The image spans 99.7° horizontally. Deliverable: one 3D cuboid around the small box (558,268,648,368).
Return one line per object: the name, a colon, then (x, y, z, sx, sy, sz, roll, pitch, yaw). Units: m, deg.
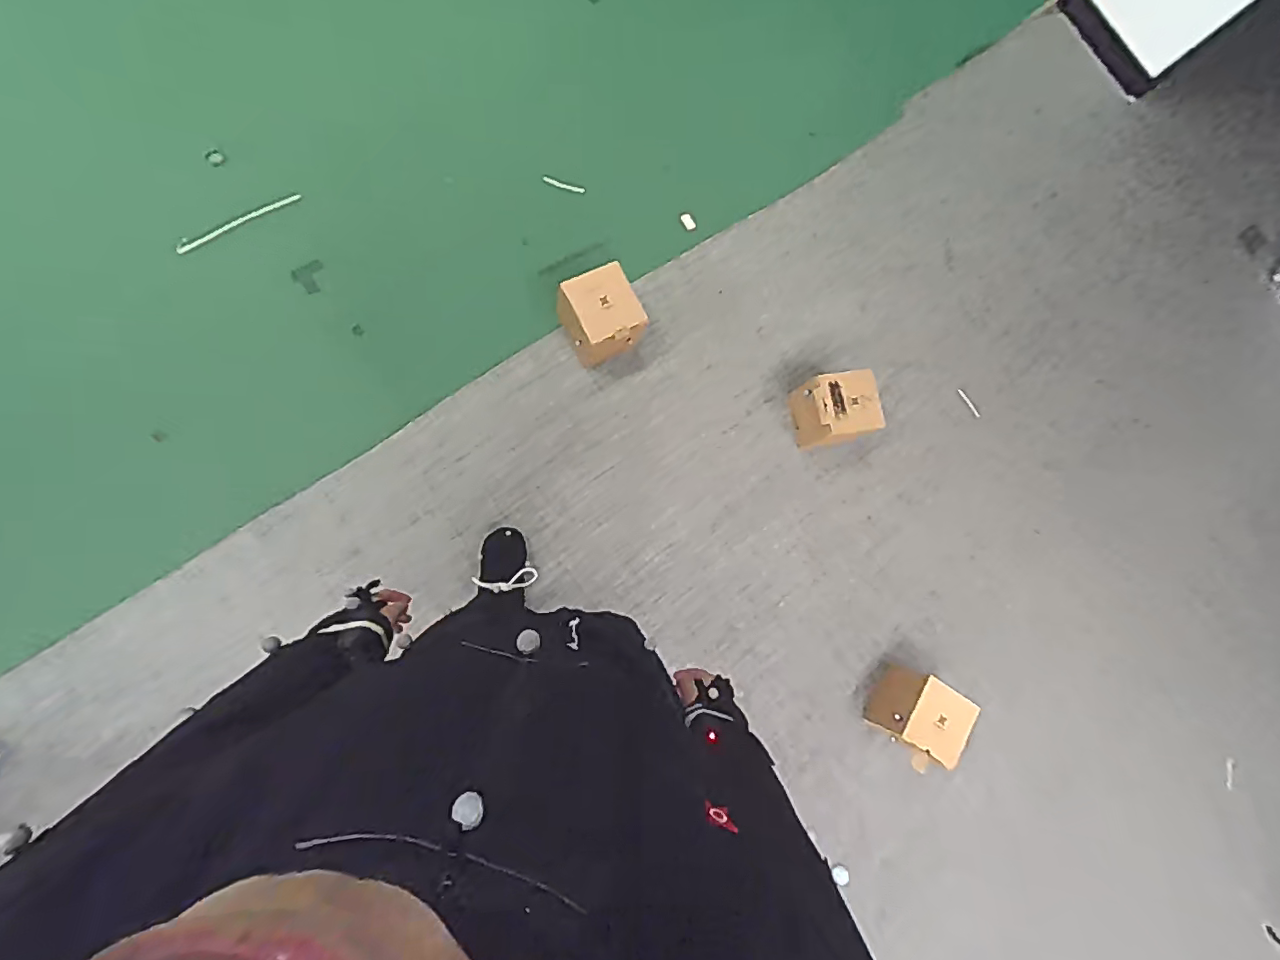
small box: (-0.104, -0.413, 1.419, 0.168, 0.176, 0.179, -28, 87, -16)

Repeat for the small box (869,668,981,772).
small box: (0.743, 0.622, 1.429, 0.168, 0.176, 0.179, 34, 77, -4)
